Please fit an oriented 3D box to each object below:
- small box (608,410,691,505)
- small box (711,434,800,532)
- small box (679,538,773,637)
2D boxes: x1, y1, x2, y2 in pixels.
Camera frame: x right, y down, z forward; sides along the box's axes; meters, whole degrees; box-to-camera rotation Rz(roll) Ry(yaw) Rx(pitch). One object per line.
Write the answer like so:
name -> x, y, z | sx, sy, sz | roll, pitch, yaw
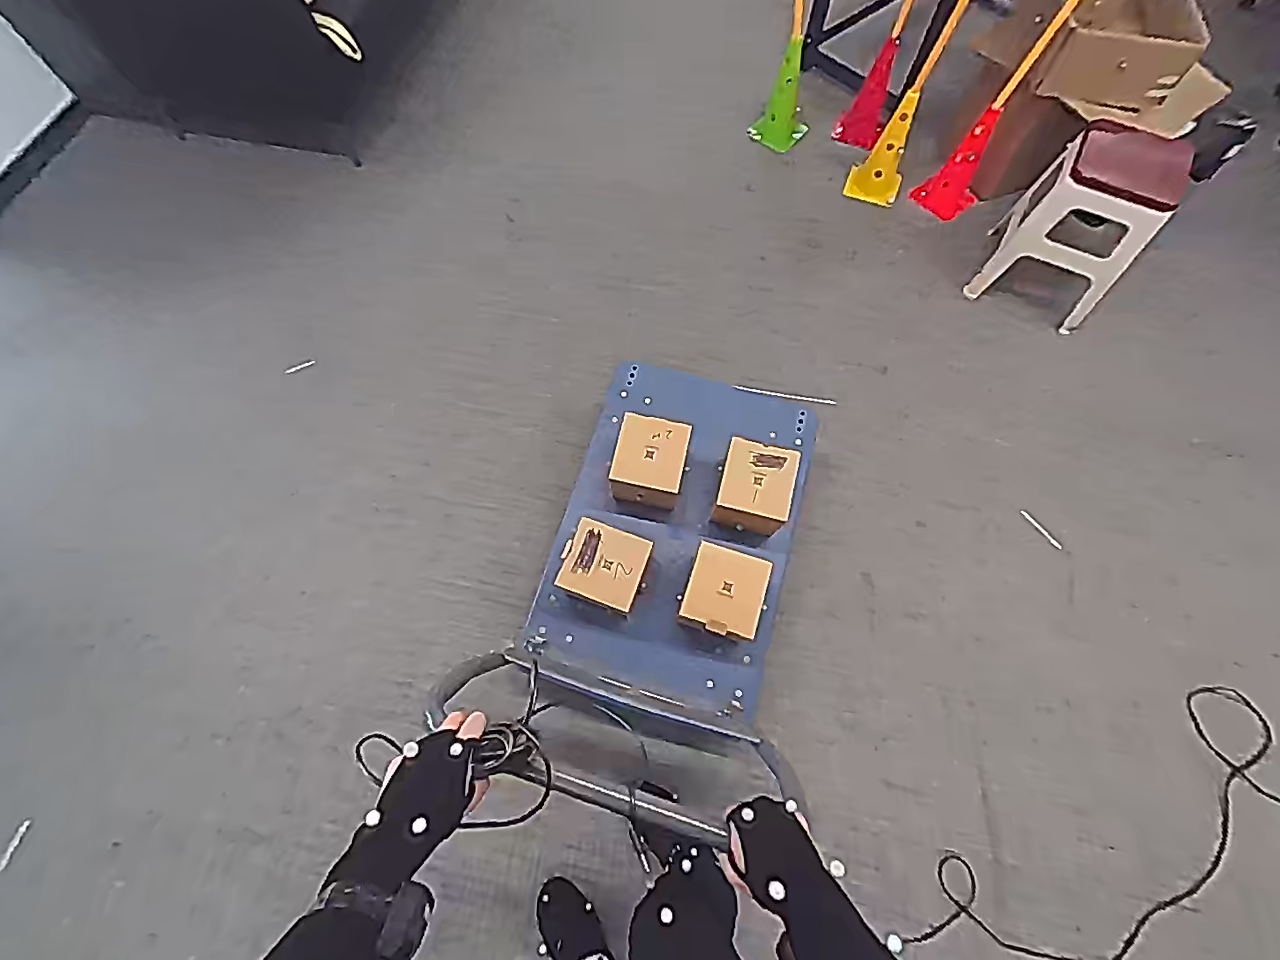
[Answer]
small box -> 0.026, -0.049, 1.341 | 0.168, 0.176, 0.179 | 13, 74, 4
small box -> 0.276, 0.012, 1.319 | 0.168, 0.176, 0.179 | 14, 75, 6
small box -> 0.190, 0.252, 1.249 | 0.168, 0.176, 0.179 | 17, 75, 6
